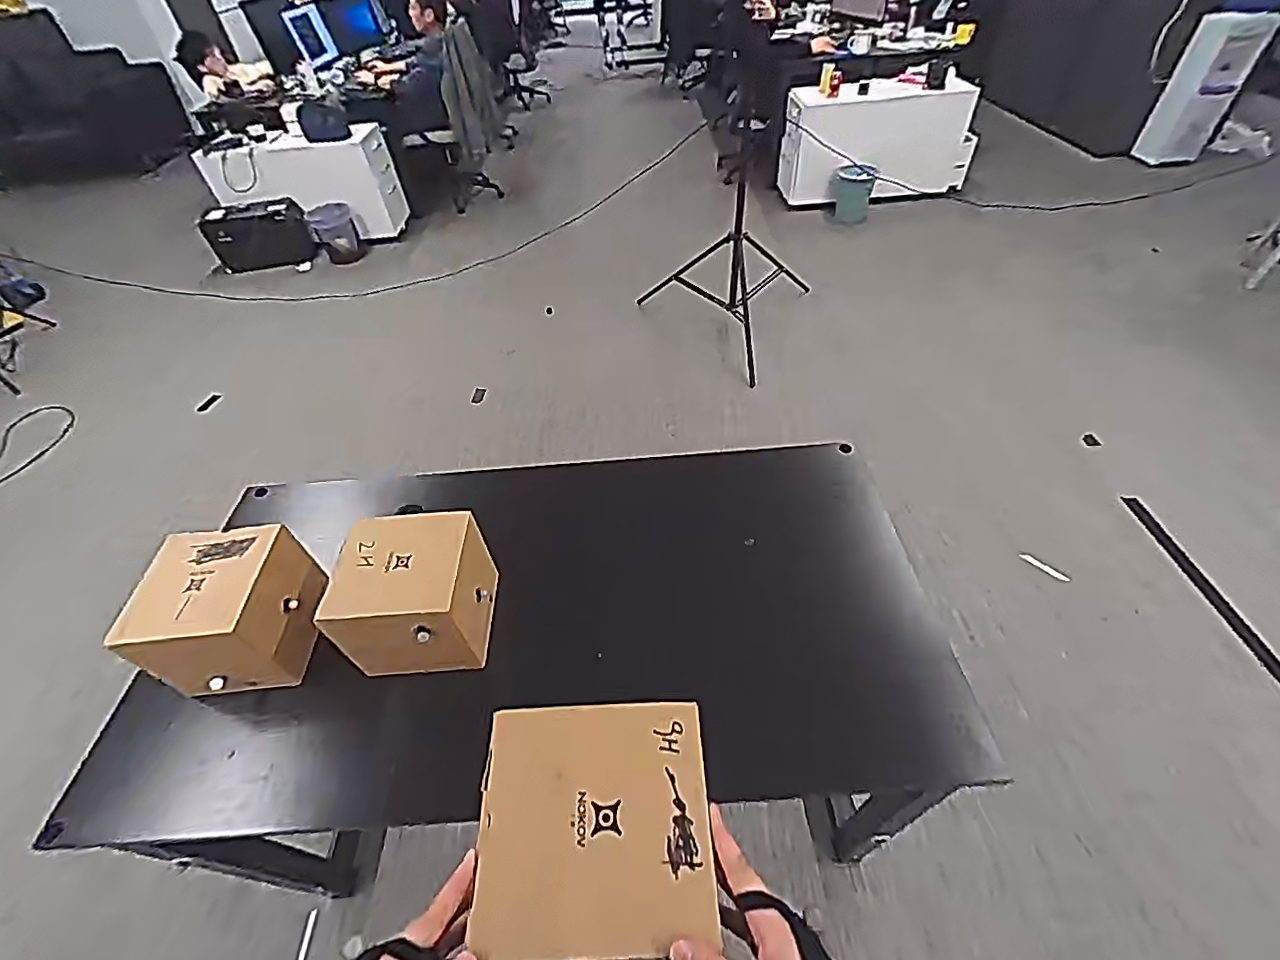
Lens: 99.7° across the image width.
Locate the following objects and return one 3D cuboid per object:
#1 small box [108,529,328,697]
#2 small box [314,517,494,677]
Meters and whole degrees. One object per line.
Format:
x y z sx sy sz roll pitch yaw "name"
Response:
-0.590 0.196 0.793 0.168 0.176 0.179 -6 48 -1 "small box"
-0.324 0.173 0.791 0.179 0.176 0.168 -4 46 0 "small box"
